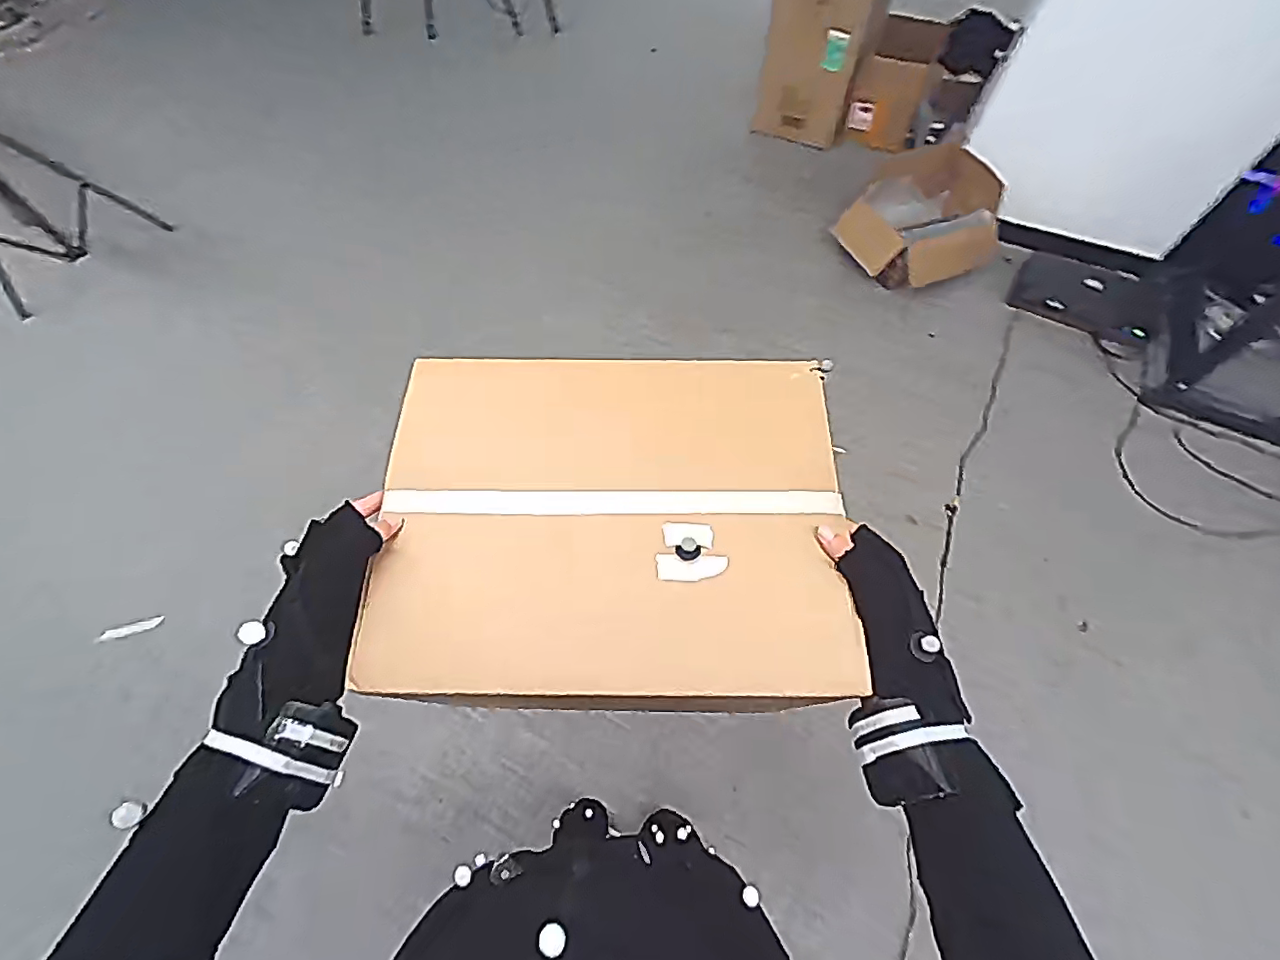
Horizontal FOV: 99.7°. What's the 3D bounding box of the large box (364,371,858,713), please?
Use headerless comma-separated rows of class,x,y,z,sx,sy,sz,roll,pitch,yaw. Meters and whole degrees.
large box,-0.026,0.091,0.626,0.408,0.320,0.320,0,65,0
